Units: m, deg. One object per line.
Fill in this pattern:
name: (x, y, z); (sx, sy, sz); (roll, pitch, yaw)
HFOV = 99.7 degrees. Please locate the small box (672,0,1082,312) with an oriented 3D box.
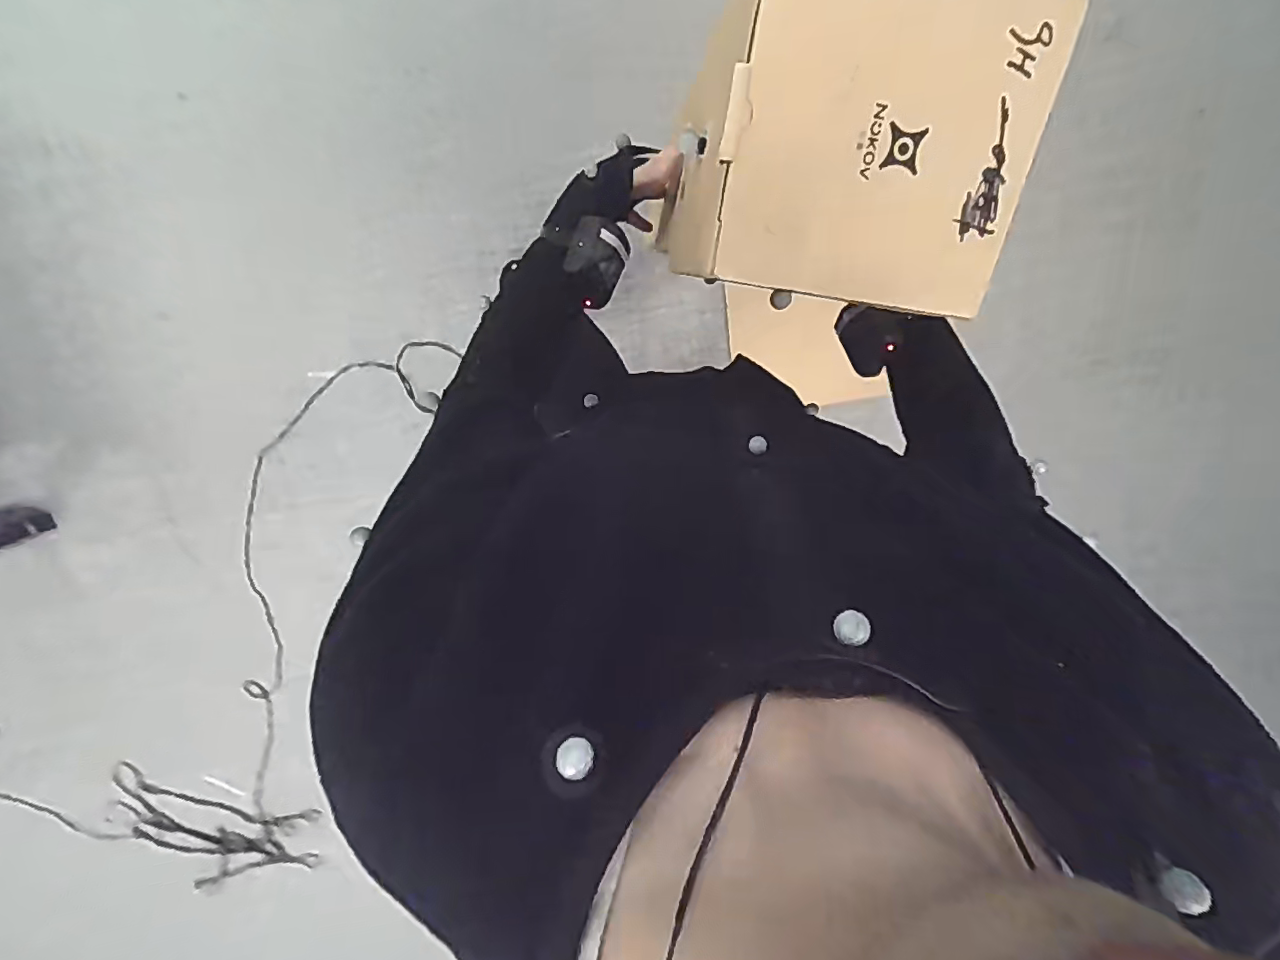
small box: (0.124, -0.214, 0.367); (0.179, 0.176, 0.168); (6, 111, -7)
